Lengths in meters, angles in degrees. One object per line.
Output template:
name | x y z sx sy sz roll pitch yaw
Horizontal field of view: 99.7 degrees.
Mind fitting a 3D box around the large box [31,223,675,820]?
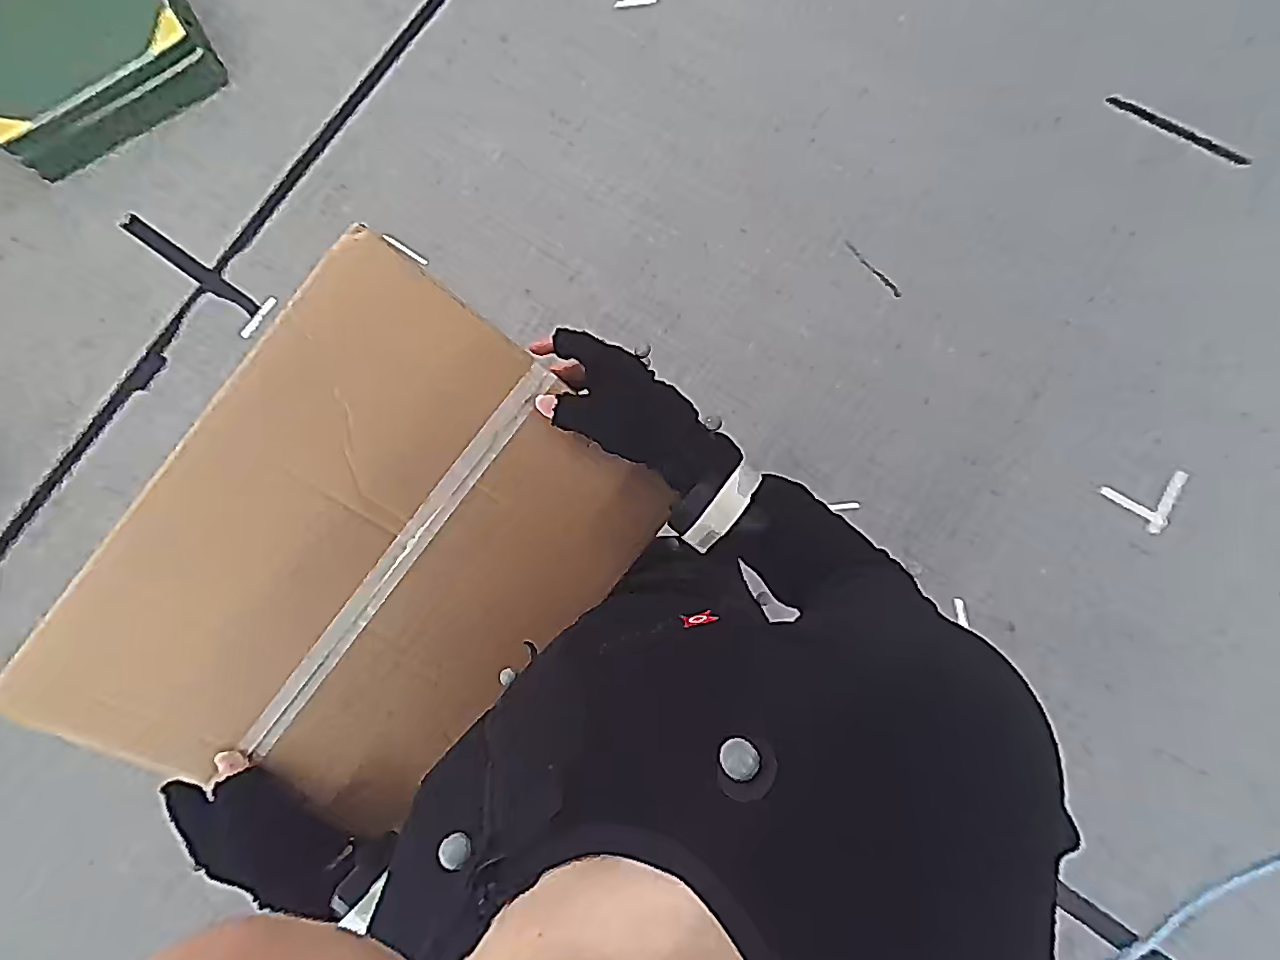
large box | -0.238 0.031 0.565 0.320 0.320 0.408 38 91 -22
